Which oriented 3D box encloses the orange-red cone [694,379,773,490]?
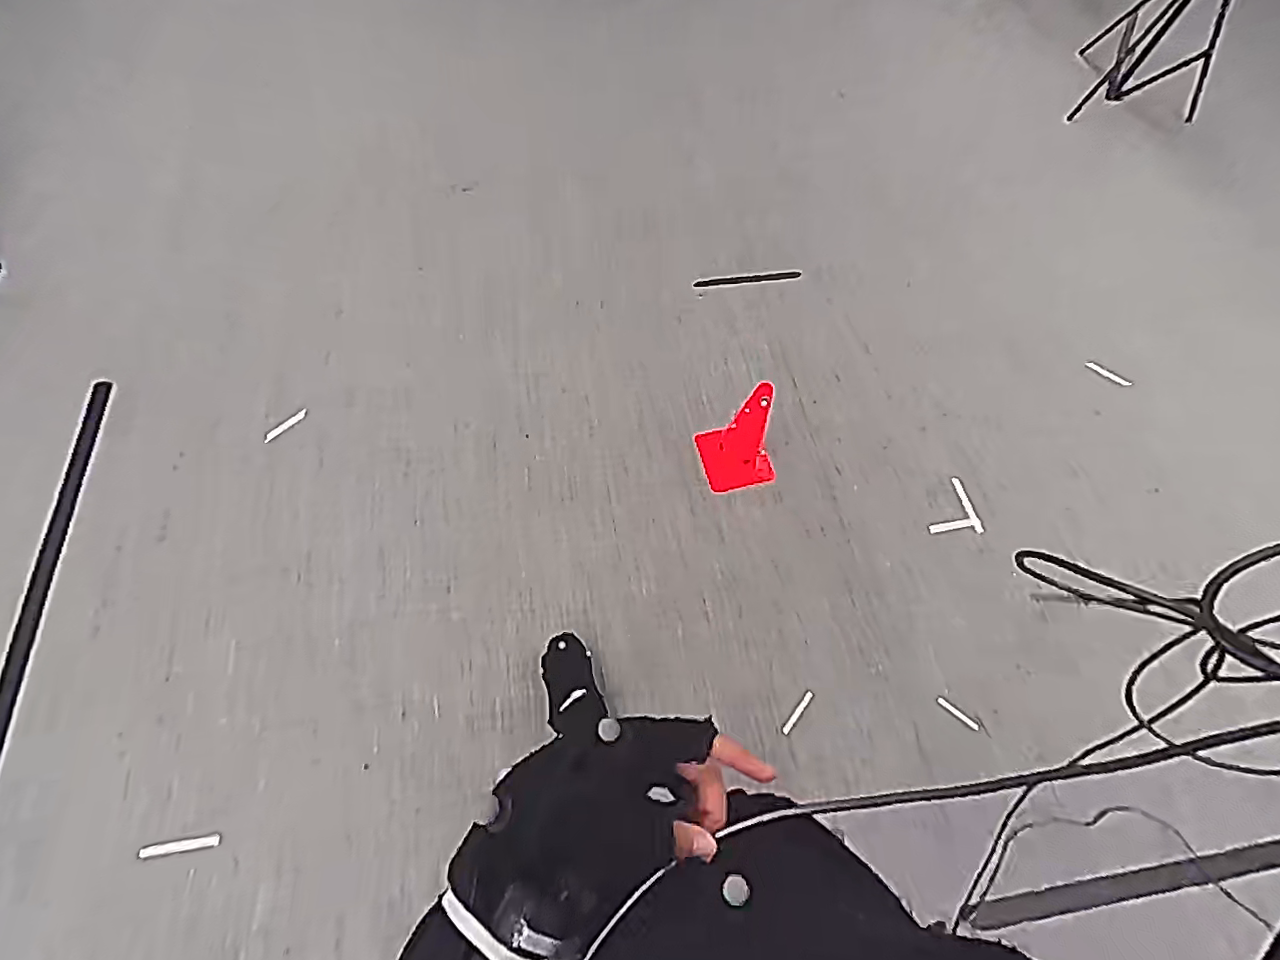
[{"bbox_3d":[0.277,-0.144,1.418,0.199,0.360,0.198,-12,65,-7],"label":"orange-red cone"}]
